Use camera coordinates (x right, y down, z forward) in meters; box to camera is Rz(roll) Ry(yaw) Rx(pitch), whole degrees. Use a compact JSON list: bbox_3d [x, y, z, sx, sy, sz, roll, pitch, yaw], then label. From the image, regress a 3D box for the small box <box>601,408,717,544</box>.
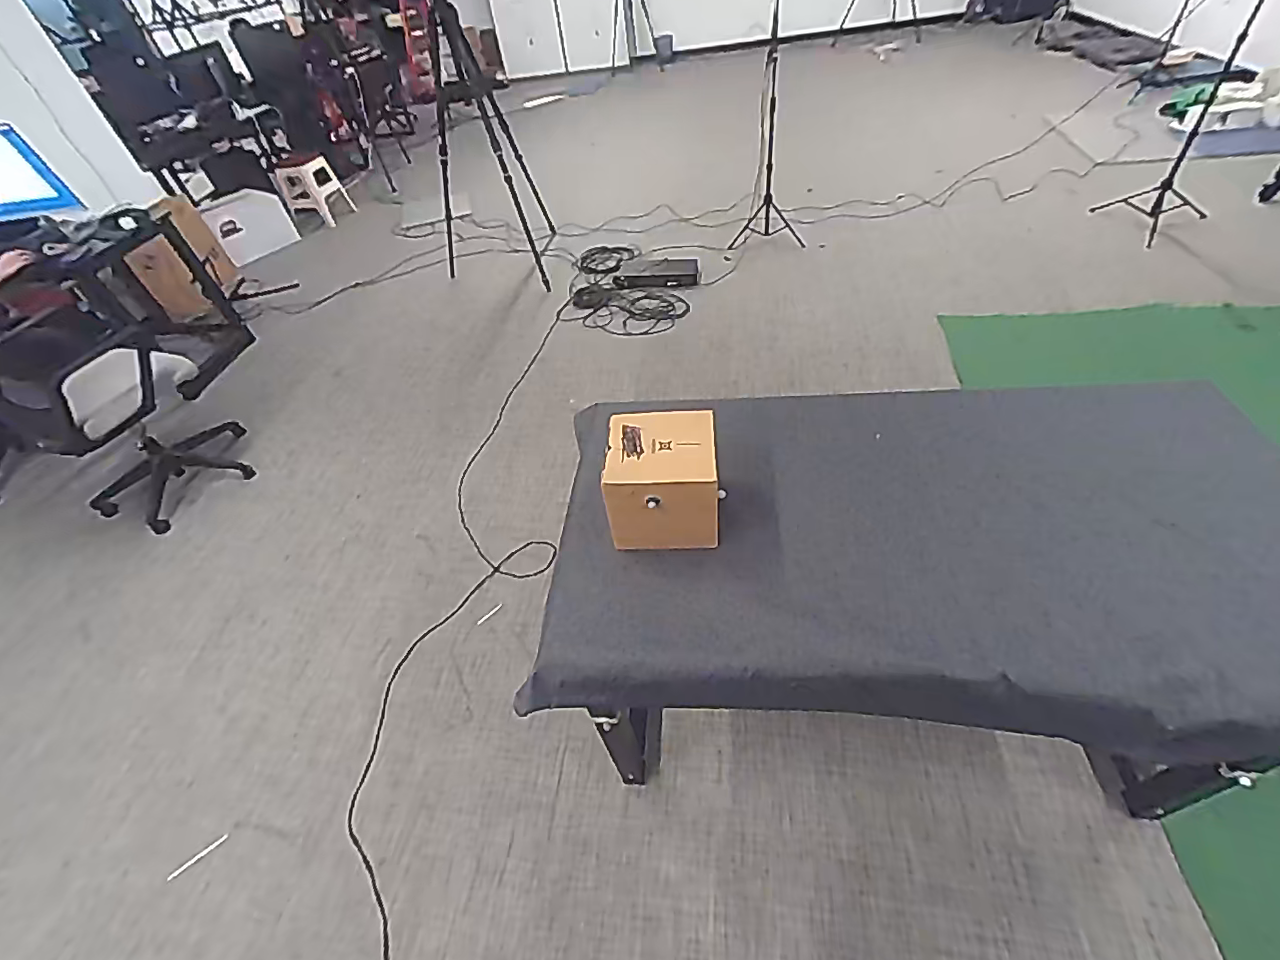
[{"bbox_3d":[0.041,-0.003,0.920,0.179,0.176,0.168,-1,47,6],"label":"small box"}]
